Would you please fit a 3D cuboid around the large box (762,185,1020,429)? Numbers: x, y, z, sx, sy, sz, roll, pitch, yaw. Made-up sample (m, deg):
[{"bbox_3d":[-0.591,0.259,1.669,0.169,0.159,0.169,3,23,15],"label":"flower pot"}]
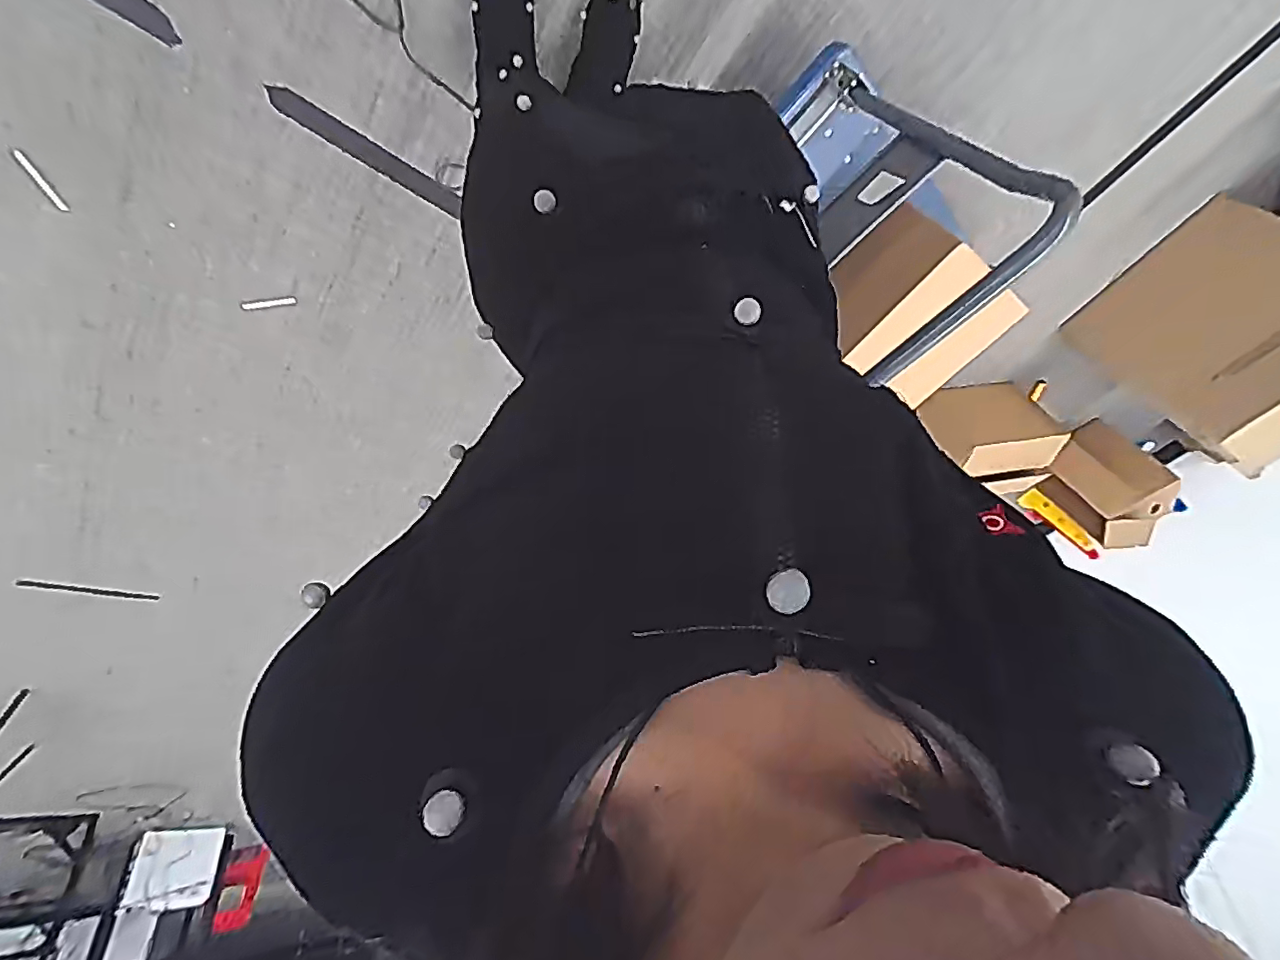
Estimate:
[{"bbox_3d":[0.579,-0.402,1.308,0.320,0.320,0.408,18,129,-33],"label":"large box"}]
